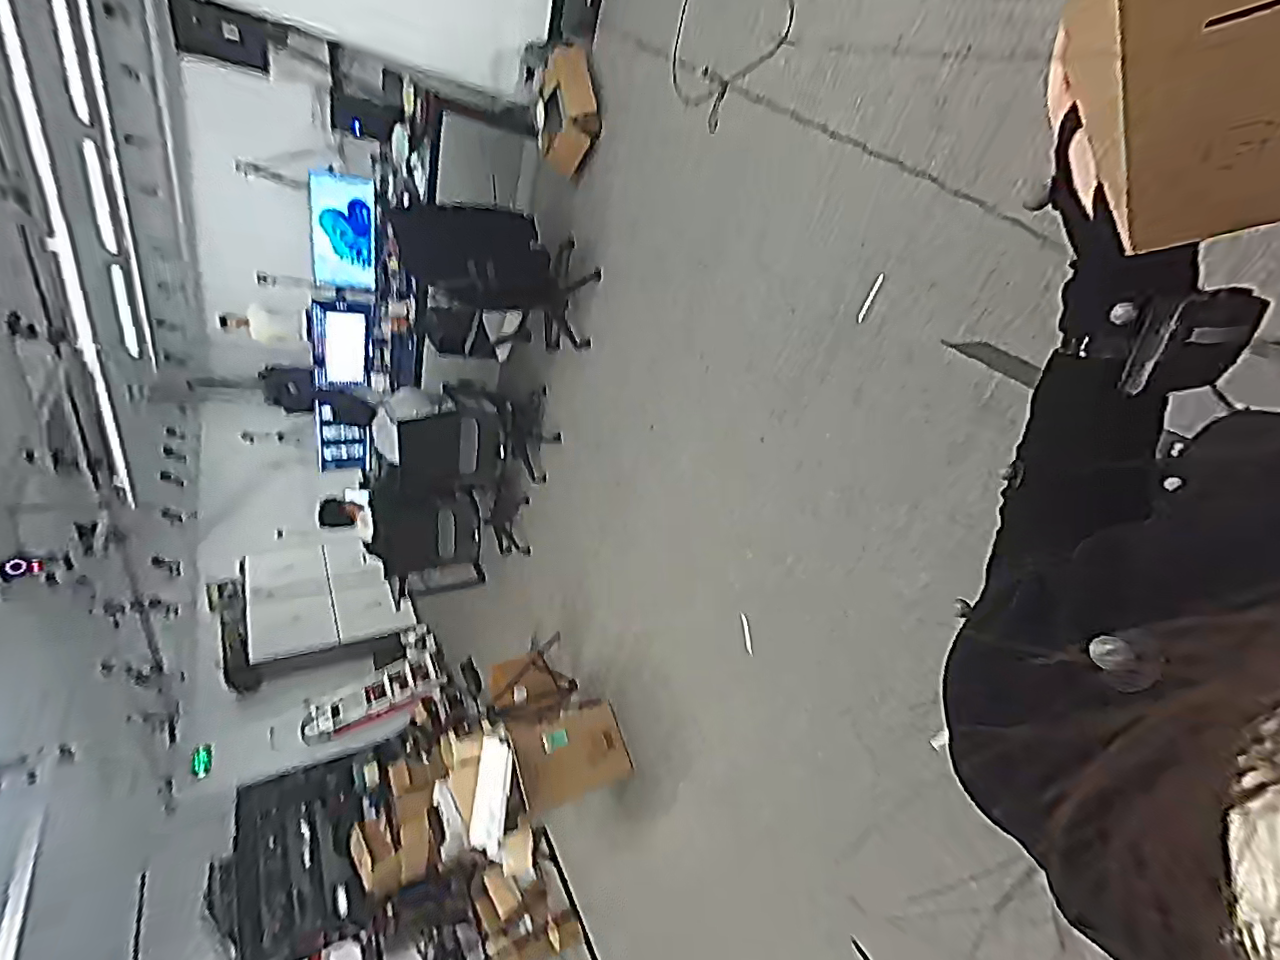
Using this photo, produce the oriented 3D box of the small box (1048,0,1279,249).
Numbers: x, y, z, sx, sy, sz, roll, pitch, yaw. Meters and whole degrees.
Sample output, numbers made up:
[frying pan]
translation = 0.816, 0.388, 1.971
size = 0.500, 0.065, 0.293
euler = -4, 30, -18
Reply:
[small box]
translation = 0.237, -0.217, 0.162
size = 0.179, 0.168, 0.176
euler = -9, 53, 39
